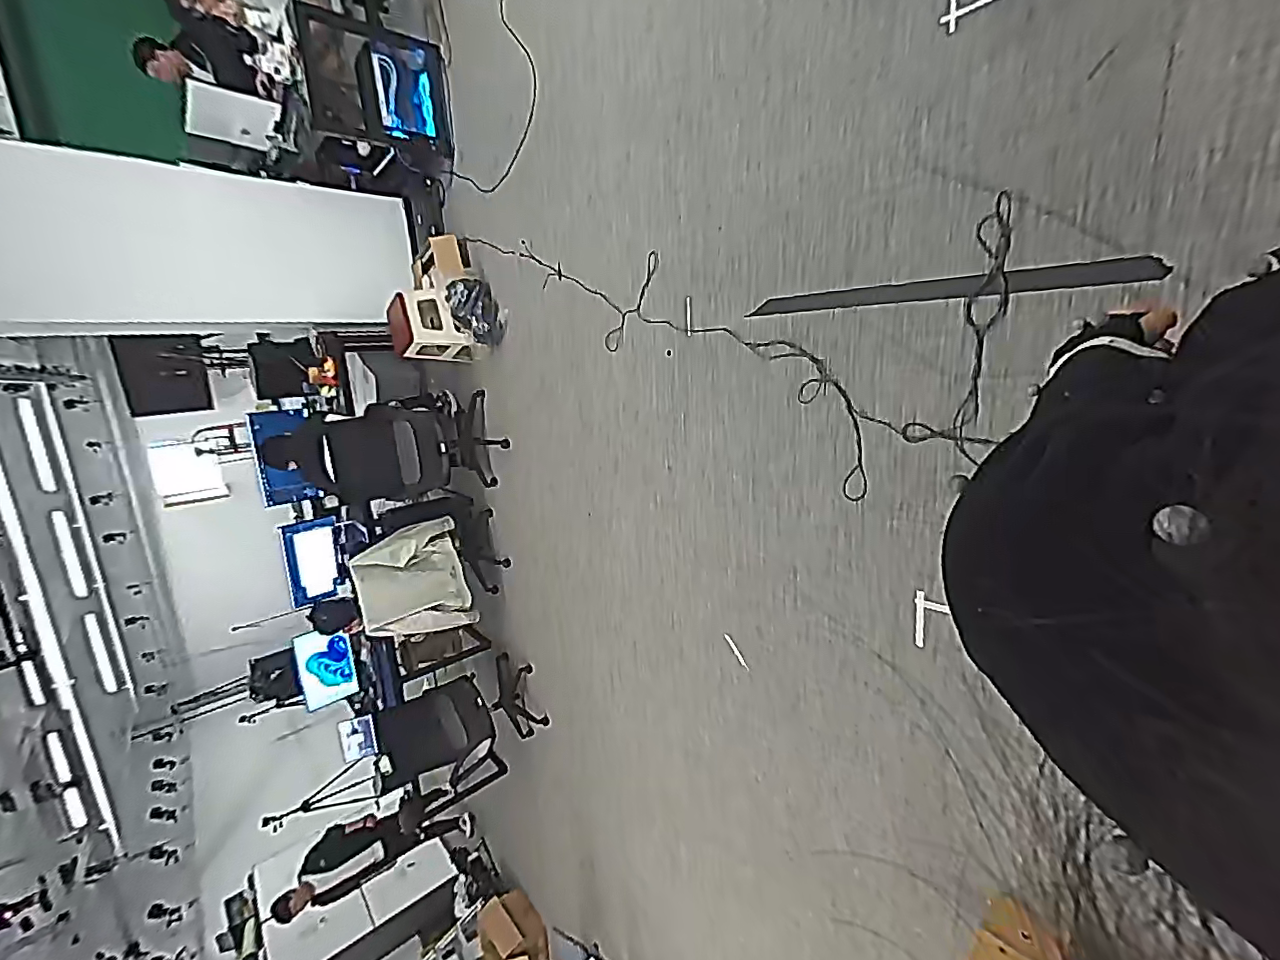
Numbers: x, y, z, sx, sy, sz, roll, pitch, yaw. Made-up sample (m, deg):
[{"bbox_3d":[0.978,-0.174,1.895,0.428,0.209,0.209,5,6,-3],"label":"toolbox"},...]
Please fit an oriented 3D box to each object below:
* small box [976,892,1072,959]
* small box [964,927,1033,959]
[{"bbox_3d":[1.027,1.266,1.455,0.179,0.176,0.168,12,110,47],"label":"small box"},{"bbox_3d":[0.906,1.286,1.348,0.168,0.176,0.179,10,109,49],"label":"small box"}]
